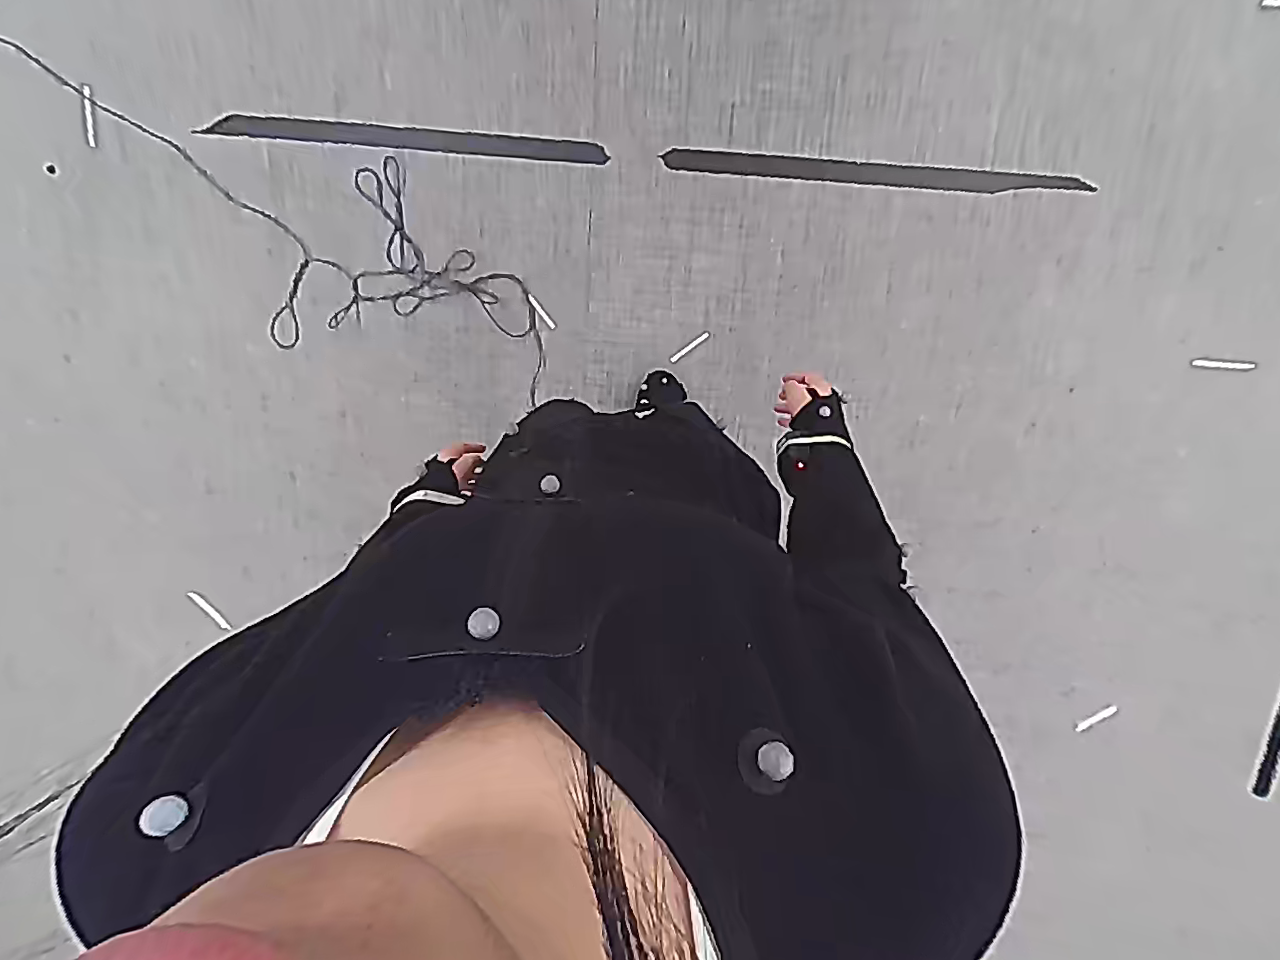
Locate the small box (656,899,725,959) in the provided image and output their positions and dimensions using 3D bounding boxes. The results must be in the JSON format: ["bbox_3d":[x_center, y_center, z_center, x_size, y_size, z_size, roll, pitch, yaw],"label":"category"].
[{"bbox_3d":[0.057,0.886,0.958,0.168,0.176,0.179,7,101,1],"label":"small box"}]

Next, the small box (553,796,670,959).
[{"bbox_3d":[-0.045,0.678,0.922,0.168,0.176,0.179,8,101,0],"label":"small box"}]
